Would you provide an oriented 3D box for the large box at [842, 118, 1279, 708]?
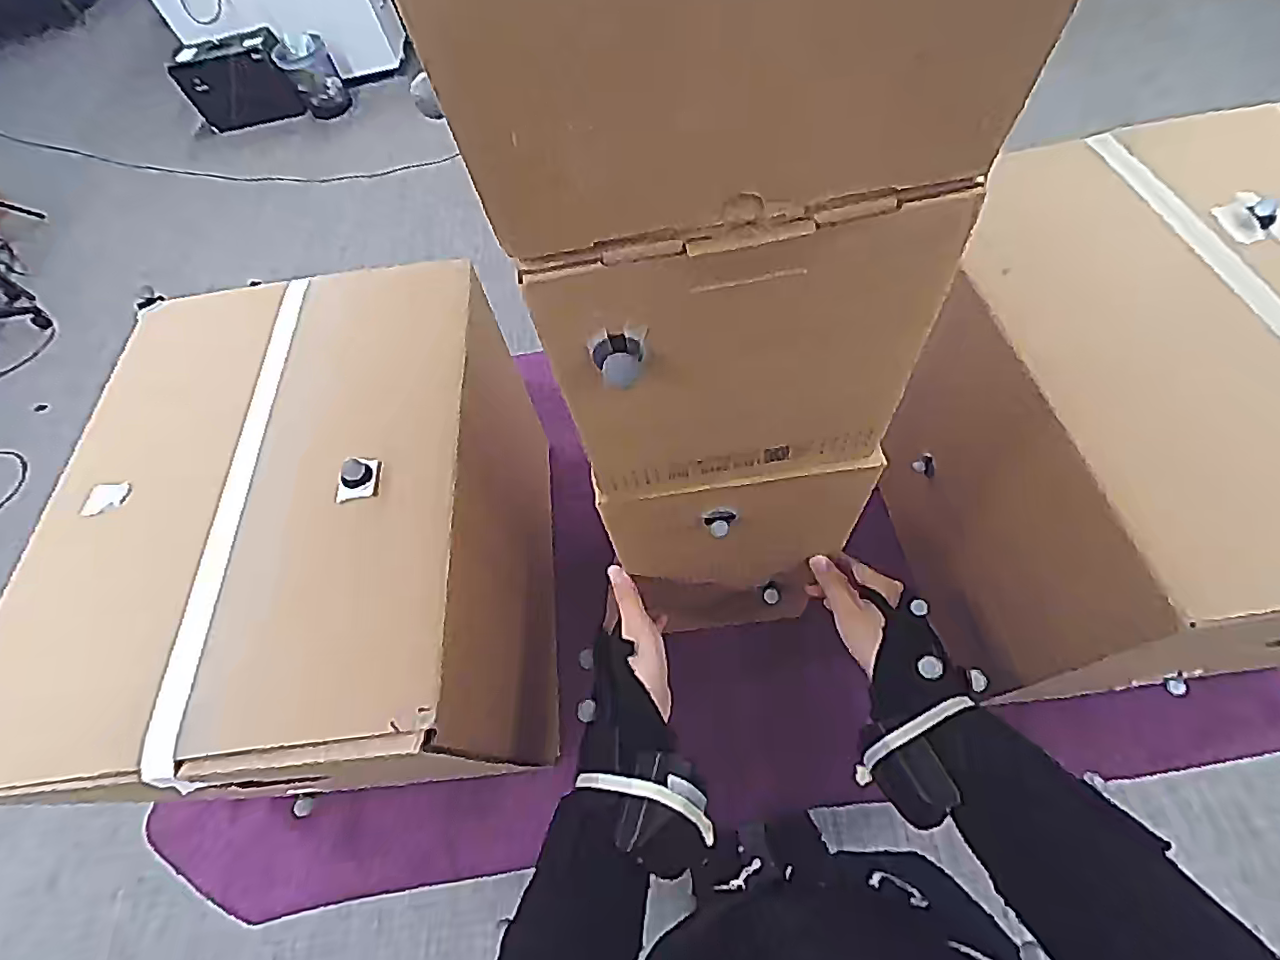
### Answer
[{"bbox_3d":[0.421,-0.045,0.498,0.320,0.320,0.408,-9,58,3],"label":"large box"}]
